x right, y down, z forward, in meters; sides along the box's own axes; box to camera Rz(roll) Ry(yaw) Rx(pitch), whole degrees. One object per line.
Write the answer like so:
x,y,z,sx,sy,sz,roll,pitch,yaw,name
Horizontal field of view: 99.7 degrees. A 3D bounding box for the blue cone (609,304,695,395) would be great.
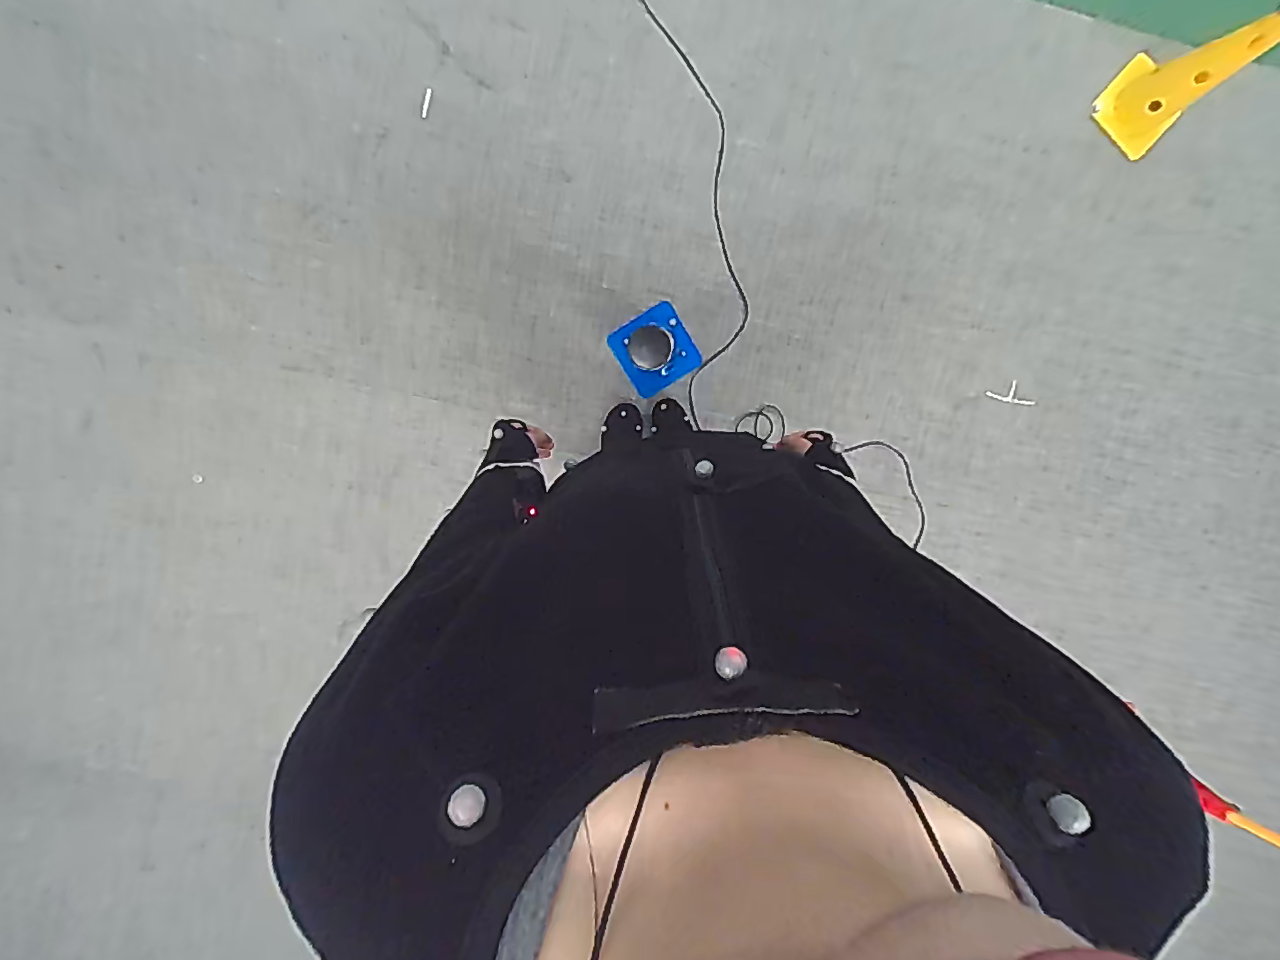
0.040,-0.316,1.273,0.193,0.380,0.192,-33,99,3,blue cone
